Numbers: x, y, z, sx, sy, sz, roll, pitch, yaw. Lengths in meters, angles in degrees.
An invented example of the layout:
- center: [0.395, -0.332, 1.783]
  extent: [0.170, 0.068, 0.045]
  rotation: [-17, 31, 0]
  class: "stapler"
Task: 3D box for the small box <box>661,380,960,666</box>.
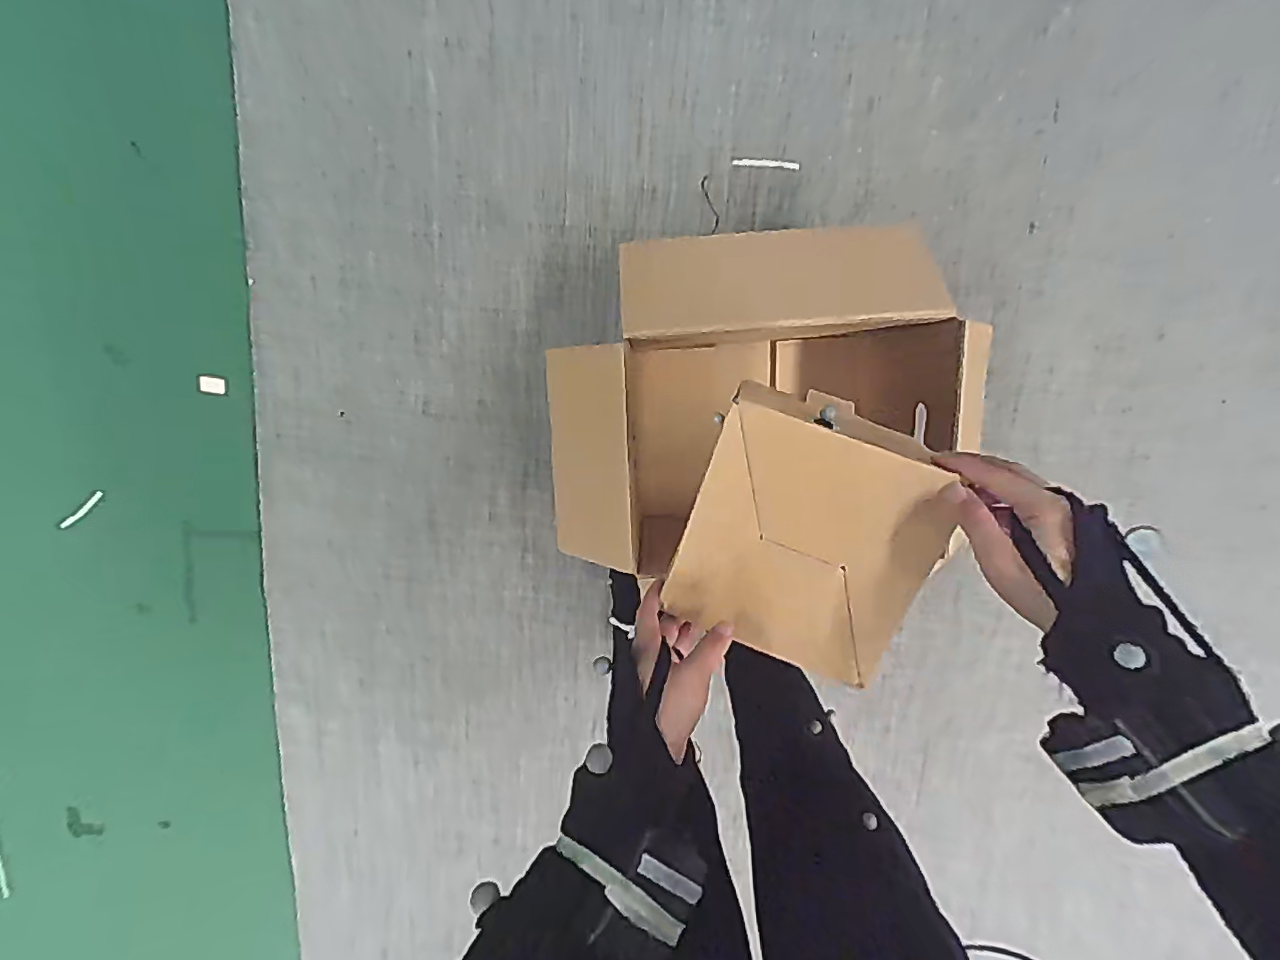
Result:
- center: [0.128, 0.029, 0.457]
  extent: [0.168, 0.176, 0.179]
  rotation: [21, 110, 7]
  class: "small box"
